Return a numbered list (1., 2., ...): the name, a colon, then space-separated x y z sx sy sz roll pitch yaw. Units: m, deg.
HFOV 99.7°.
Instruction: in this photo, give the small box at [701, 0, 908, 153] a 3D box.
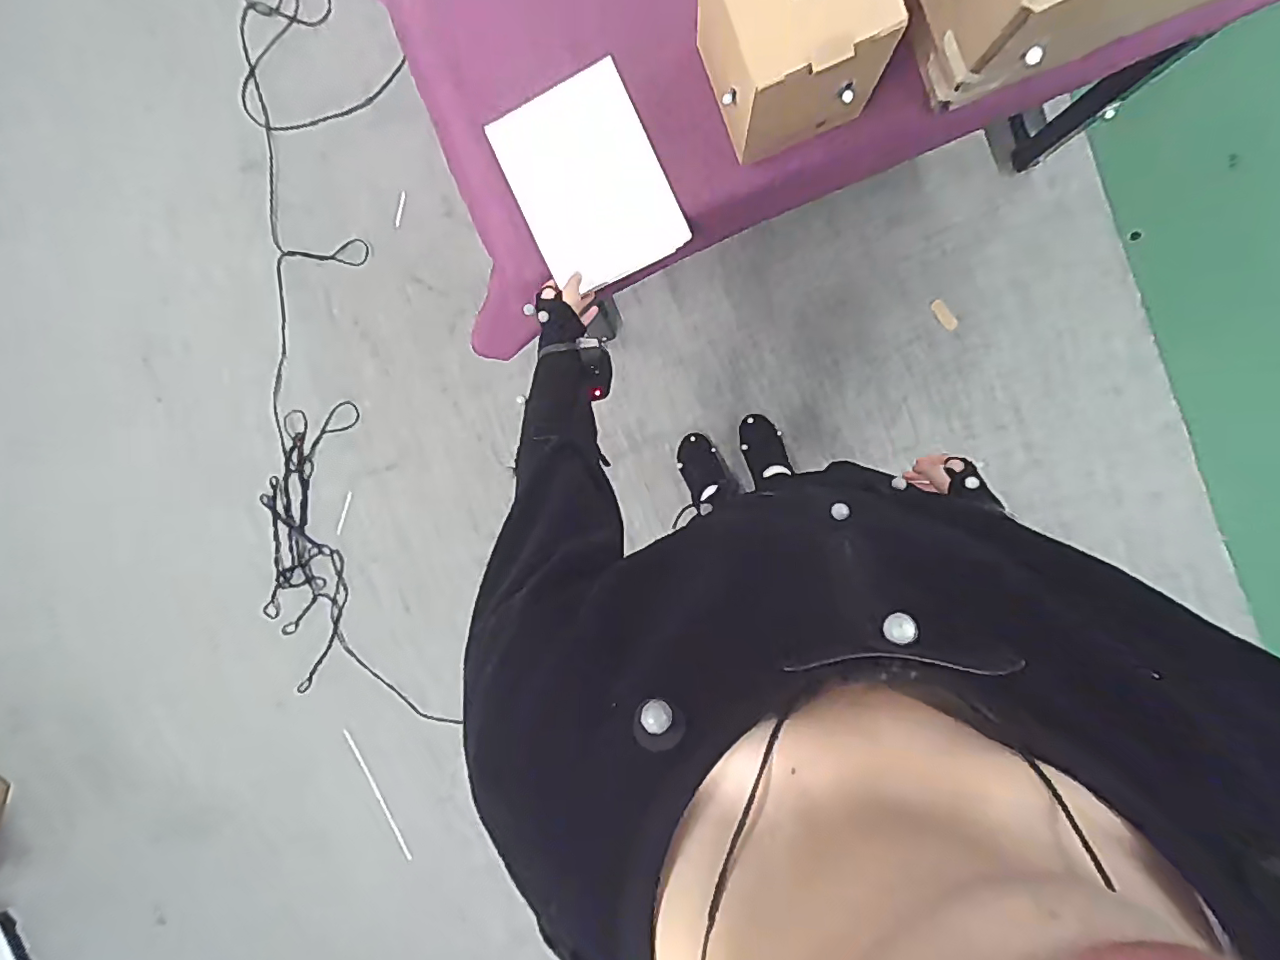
1. small box: 0.175 -0.519 0.628 0.168 0.176 0.179 -20 92 7
